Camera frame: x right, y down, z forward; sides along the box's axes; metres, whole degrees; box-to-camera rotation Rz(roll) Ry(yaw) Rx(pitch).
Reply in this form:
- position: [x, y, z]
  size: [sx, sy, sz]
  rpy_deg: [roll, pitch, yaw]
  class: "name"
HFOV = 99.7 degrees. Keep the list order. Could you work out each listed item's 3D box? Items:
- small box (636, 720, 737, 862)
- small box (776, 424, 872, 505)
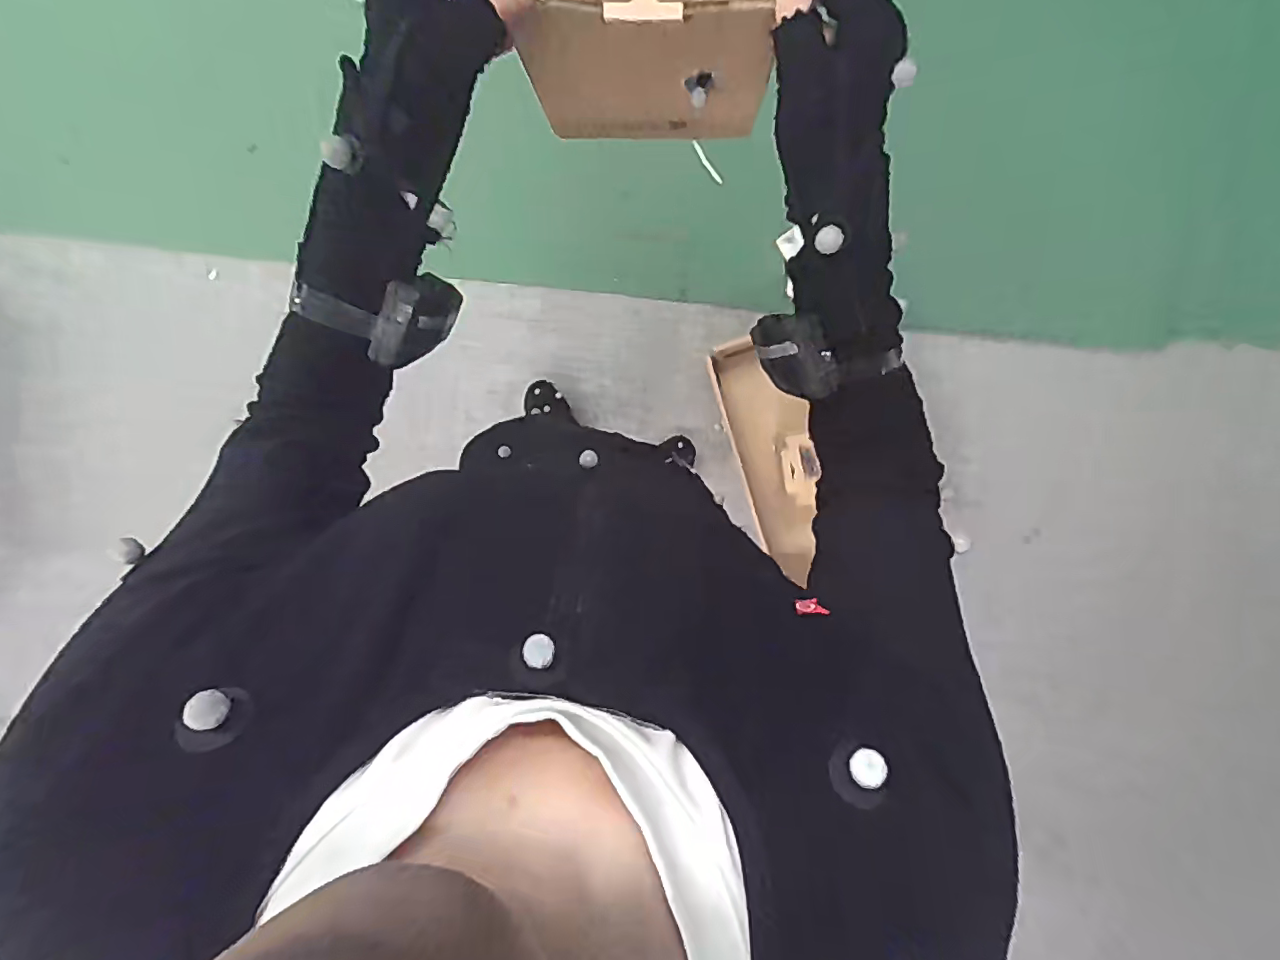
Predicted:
- position: [0.095, 0.639, 1.134]
  size: [0.168, 0.176, 0.179]
  rpy_deg: [15, 97, 4]
  class: "small box"
- position: [0.430, -0.040, 1.293]
  size: [0.179, 0.176, 0.168]
  rpy_deg: [-9, 95, 4]
  class: "small box"
